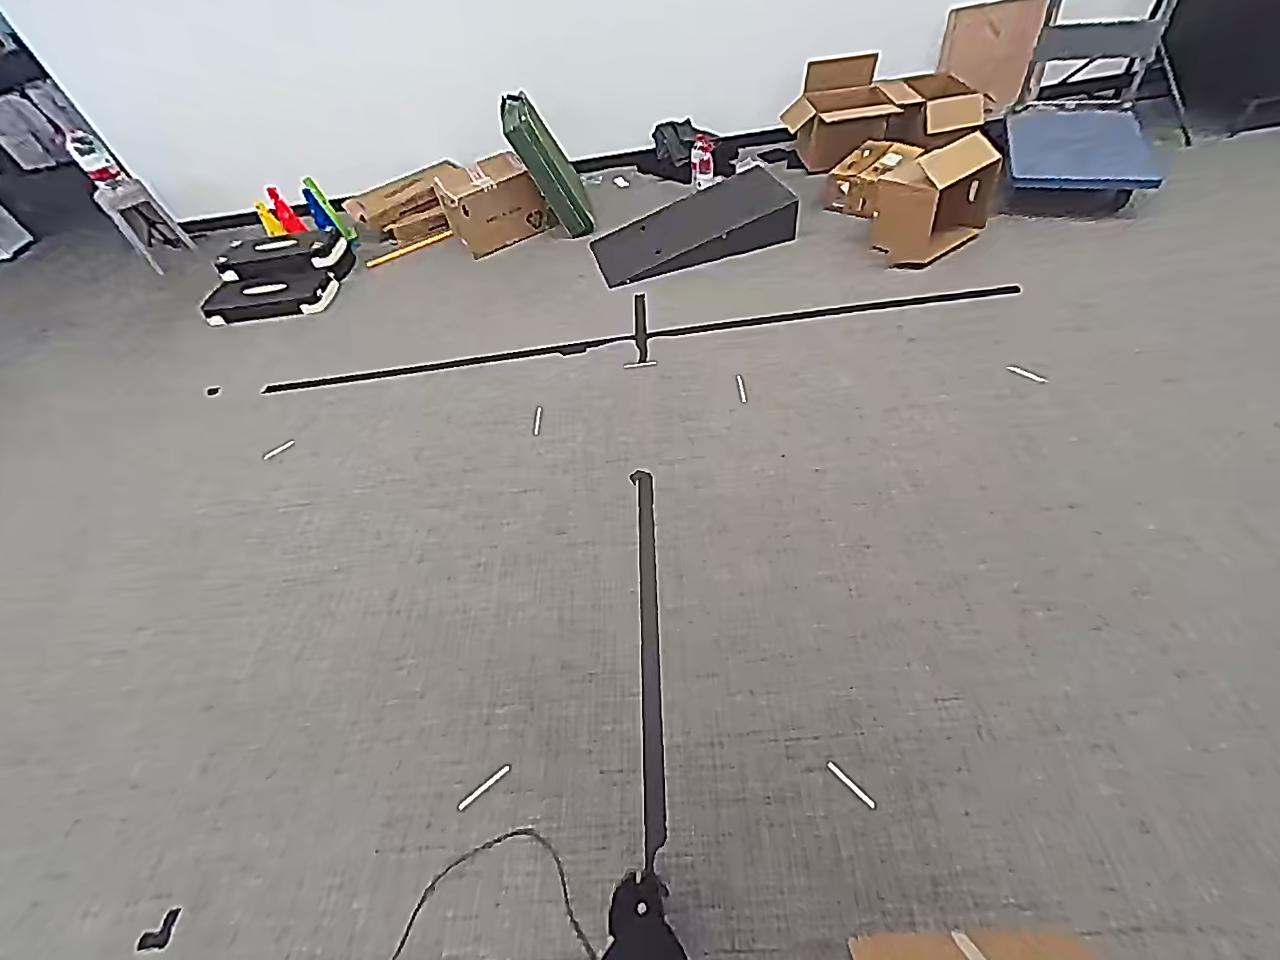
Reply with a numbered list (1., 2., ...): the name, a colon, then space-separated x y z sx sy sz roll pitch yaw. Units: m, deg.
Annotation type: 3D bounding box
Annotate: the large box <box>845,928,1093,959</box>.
1. large box: 0.448 0.762 0.565 0.320 0.408 0.320 -6 74 6
